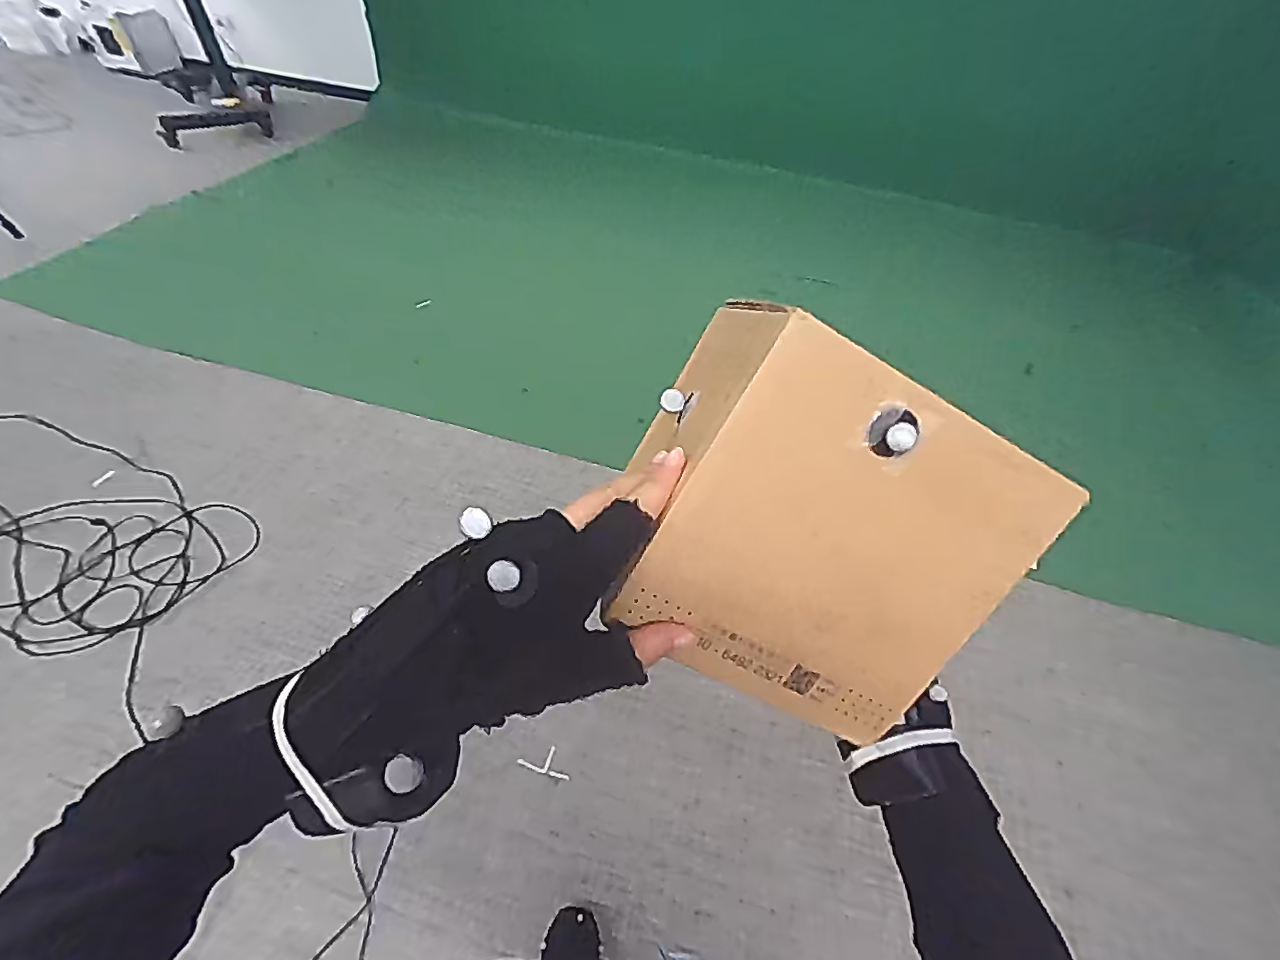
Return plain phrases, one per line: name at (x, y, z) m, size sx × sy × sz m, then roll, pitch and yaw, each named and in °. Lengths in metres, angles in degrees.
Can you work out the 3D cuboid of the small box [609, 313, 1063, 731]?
small box at (0.090, 0.013, 0.344) m, size 0.168 × 0.176 × 0.179 m, roll 28°, pitch 16°, yaw -10°
